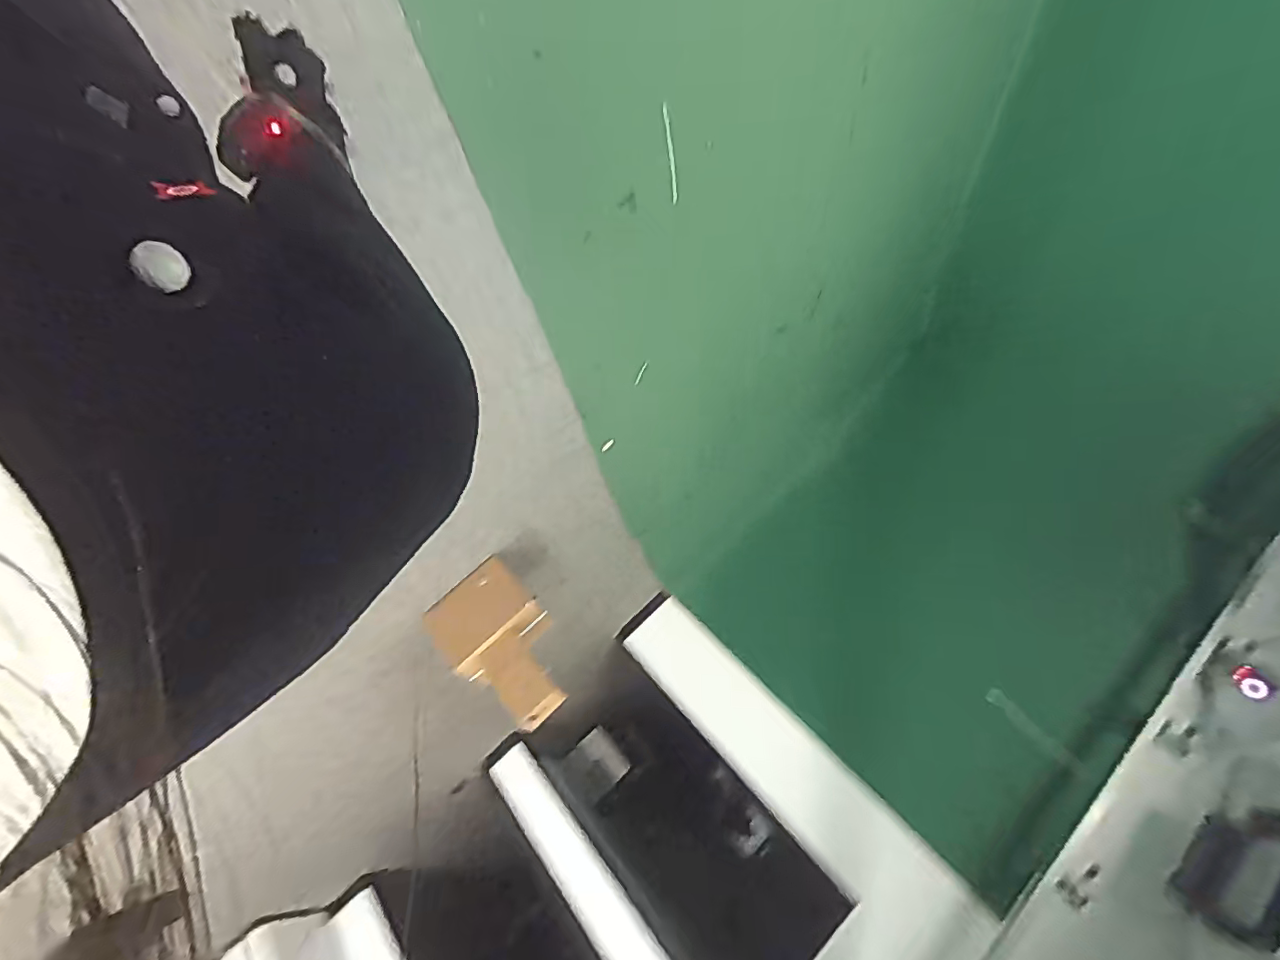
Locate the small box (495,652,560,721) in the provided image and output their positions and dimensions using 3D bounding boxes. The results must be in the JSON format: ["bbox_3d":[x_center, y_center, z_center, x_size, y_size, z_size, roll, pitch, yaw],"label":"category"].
[{"bbox_3d":[-0.454,0.821,2.154,0.179,0.176,0.168,-41,148,-12],"label":"small box"}]

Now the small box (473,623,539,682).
[{"bbox_3d":[-0.556,0.722,2.236,0.179,0.176,0.168,-40,148,-13],"label":"small box"}]
